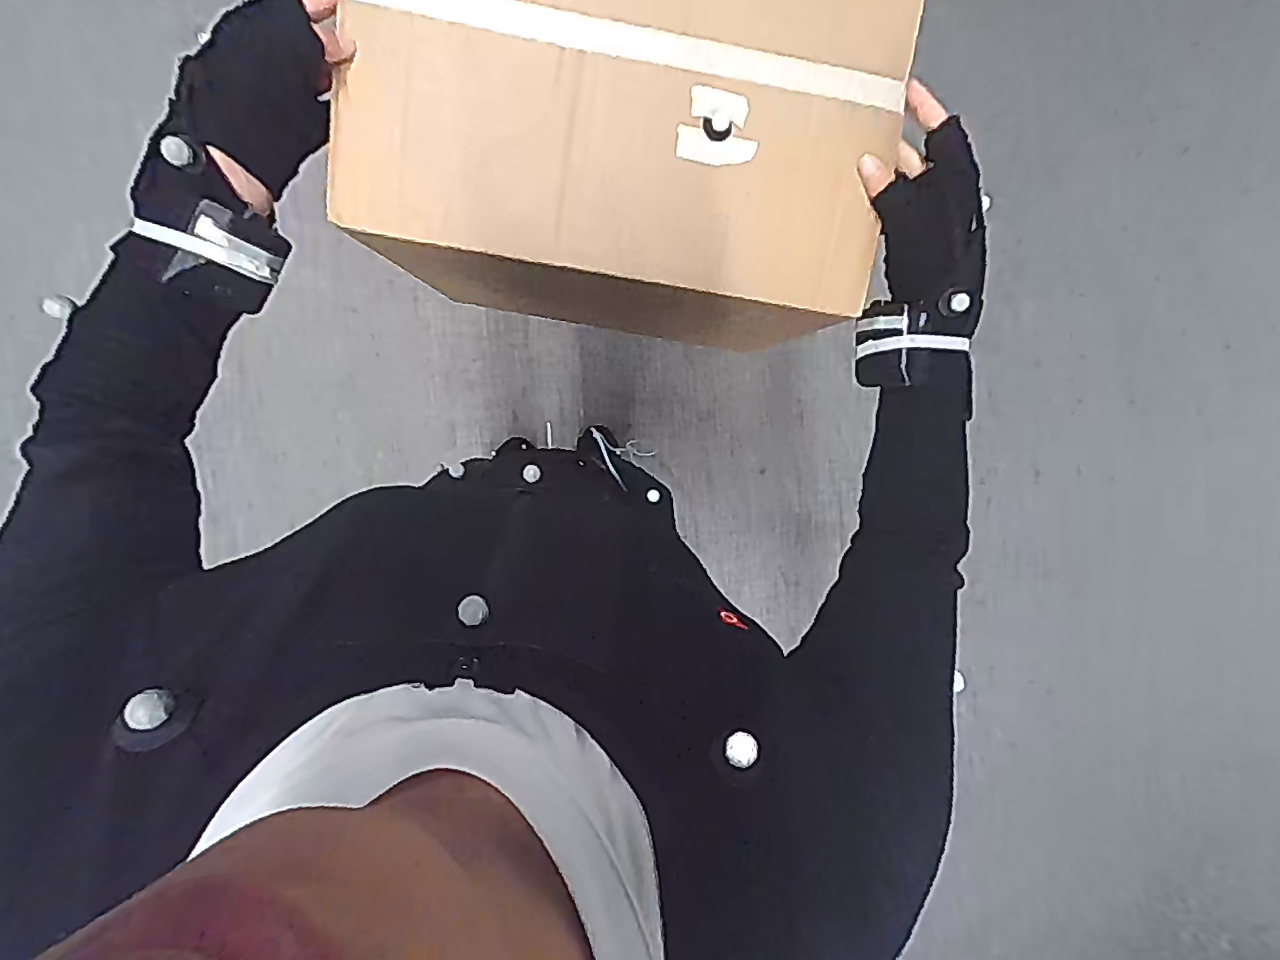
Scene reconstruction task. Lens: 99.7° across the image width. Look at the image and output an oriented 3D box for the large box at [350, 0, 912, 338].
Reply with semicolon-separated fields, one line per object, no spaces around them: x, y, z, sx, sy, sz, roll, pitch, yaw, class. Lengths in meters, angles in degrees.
-0.013;-0.338;0.543;0.408;0.320;0.320;7;99;-5;large box
